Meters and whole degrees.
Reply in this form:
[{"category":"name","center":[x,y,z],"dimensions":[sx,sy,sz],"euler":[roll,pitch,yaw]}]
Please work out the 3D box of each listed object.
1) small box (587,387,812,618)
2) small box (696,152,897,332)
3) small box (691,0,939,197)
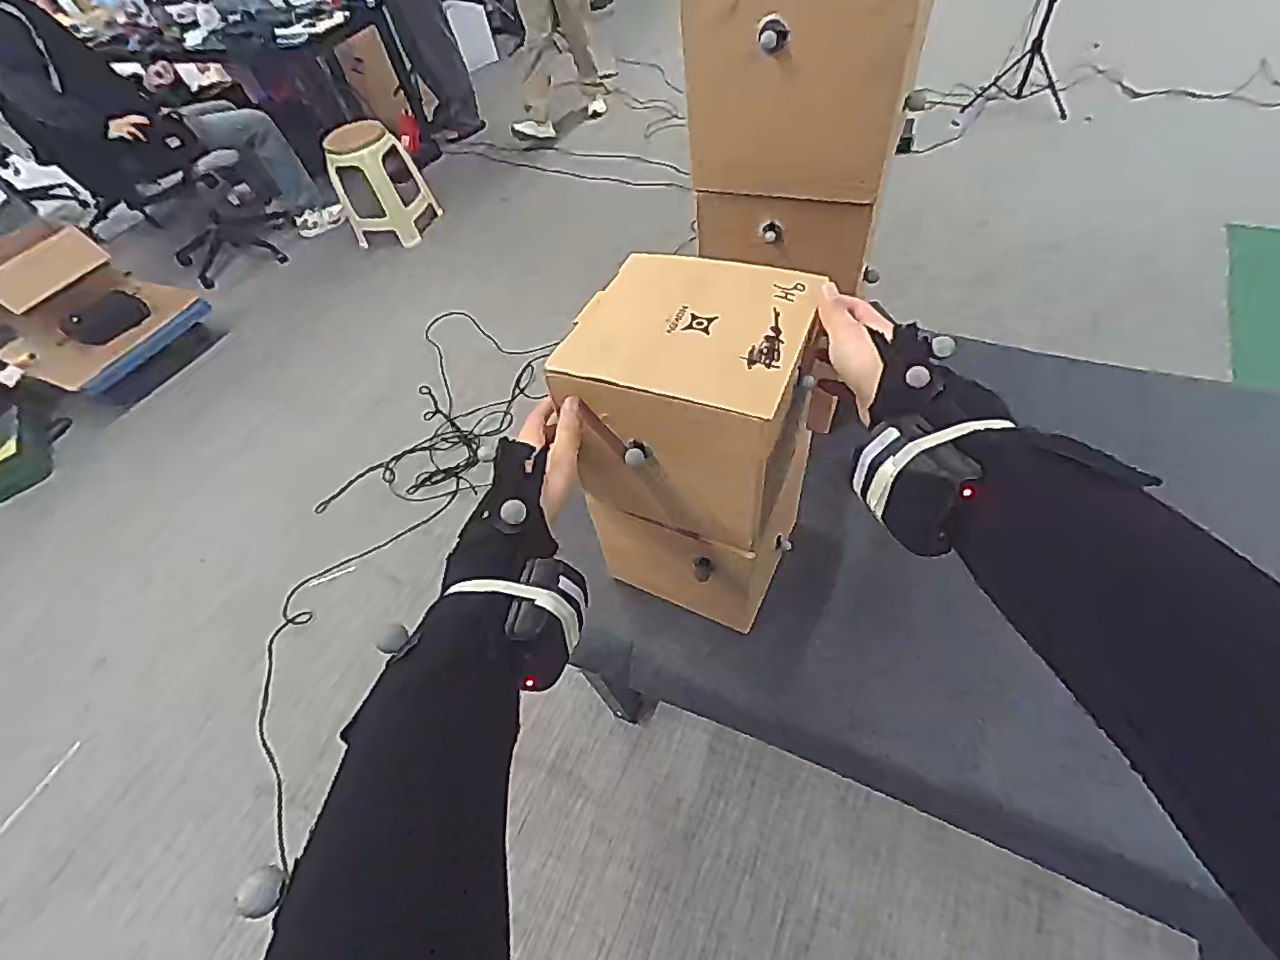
[{"category":"small box","center":[0.069,0.030,0.598],"dimensions":[0.179,0.176,0.168],"euler":[20,58,22]},{"category":"small box","center":[0.175,-0.290,0.612],"dimensions":[0.179,0.176,0.168],"euler":[15,61,18]},{"category":"small box","center":[0.151,-0.374,0.473],"dimensions":[0.179,0.176,0.168],"euler":[17,61,19]}]
